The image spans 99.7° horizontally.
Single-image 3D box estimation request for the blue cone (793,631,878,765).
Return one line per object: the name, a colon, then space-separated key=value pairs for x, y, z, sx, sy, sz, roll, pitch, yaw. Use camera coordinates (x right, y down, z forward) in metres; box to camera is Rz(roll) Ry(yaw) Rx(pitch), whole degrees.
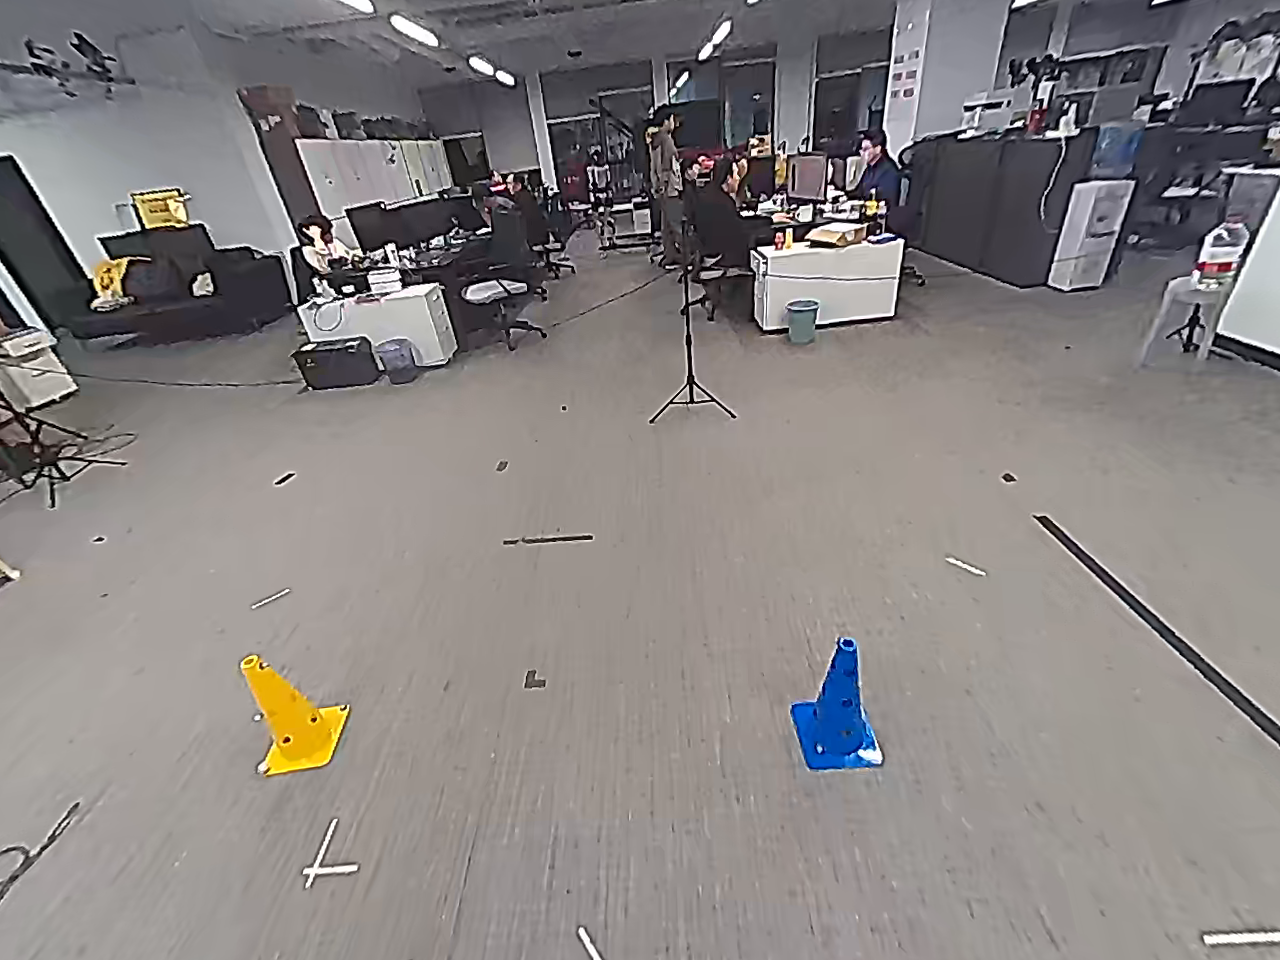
blue cone: x=0.510 y=0.540 z=1.381 sx=0.193 sy=0.380 sz=0.192 roll=-5 pitch=31 yaw=4
